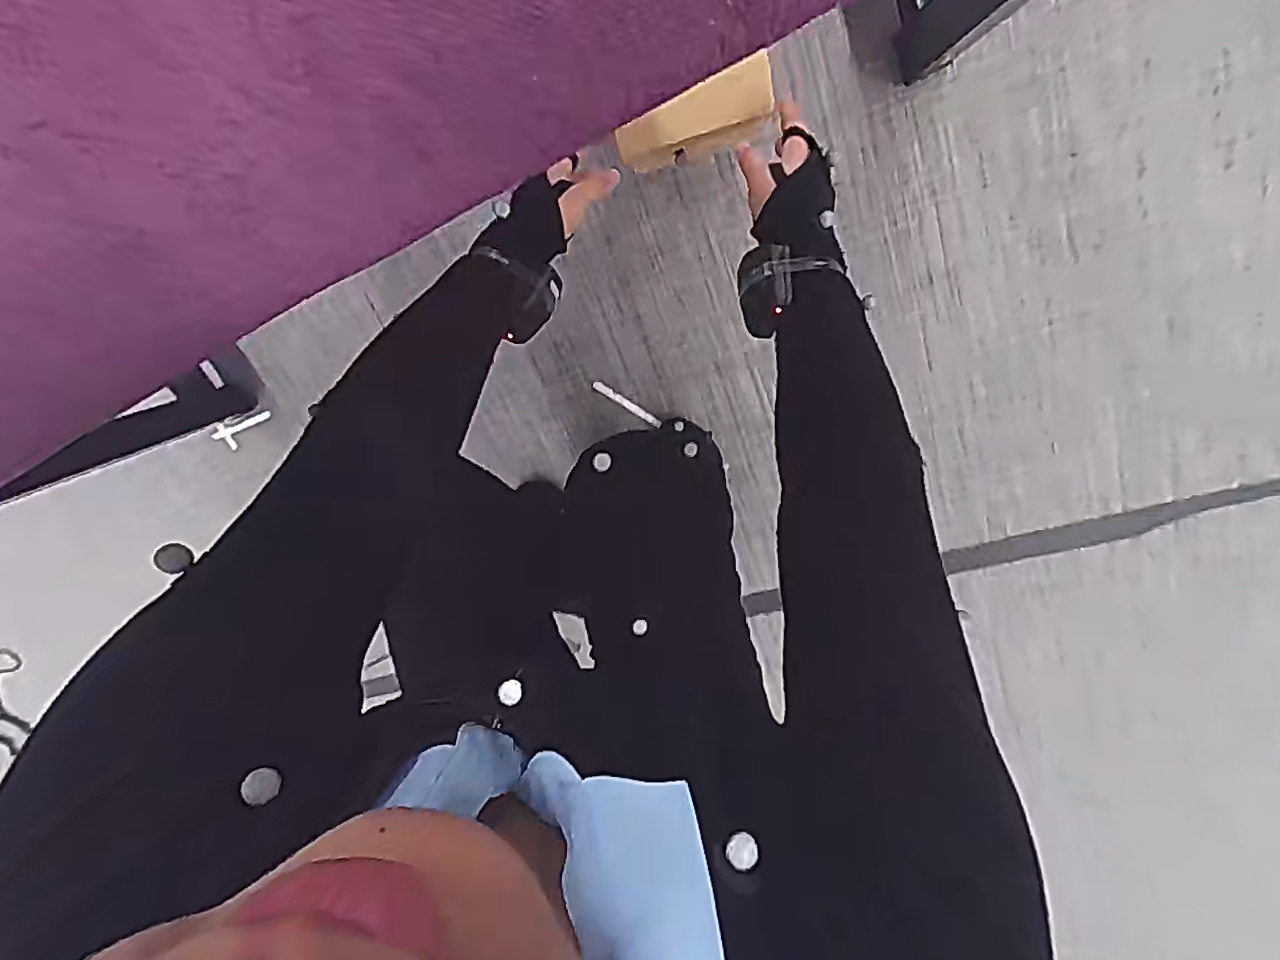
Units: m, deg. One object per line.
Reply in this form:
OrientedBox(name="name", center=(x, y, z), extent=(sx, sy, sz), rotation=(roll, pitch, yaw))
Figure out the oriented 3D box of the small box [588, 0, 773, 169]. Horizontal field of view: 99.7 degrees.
OrientedBox(name="small box", center=(0.051, -0.467, 0.605), extent=(0.168, 0.176, 0.179), rotation=(-10, 111, 12))
